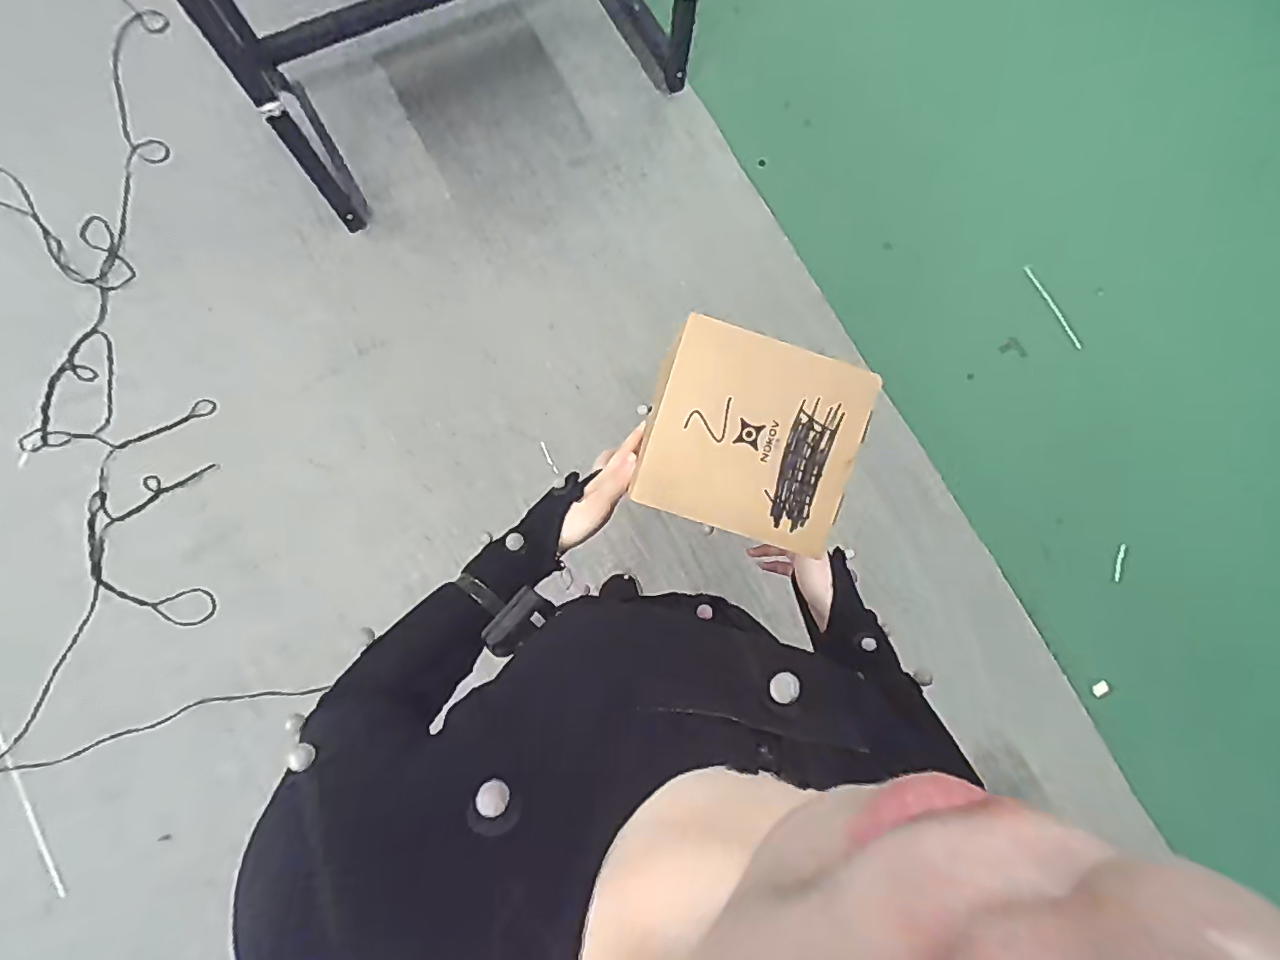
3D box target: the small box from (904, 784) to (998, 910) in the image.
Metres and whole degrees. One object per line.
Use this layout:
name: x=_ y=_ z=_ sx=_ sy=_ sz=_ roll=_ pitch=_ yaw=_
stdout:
small box: x=0.810 y=0.907 z=1.350 sx=0.168 sy=0.176 sz=0.179 roll=-32 pitch=84 yaw=-8
